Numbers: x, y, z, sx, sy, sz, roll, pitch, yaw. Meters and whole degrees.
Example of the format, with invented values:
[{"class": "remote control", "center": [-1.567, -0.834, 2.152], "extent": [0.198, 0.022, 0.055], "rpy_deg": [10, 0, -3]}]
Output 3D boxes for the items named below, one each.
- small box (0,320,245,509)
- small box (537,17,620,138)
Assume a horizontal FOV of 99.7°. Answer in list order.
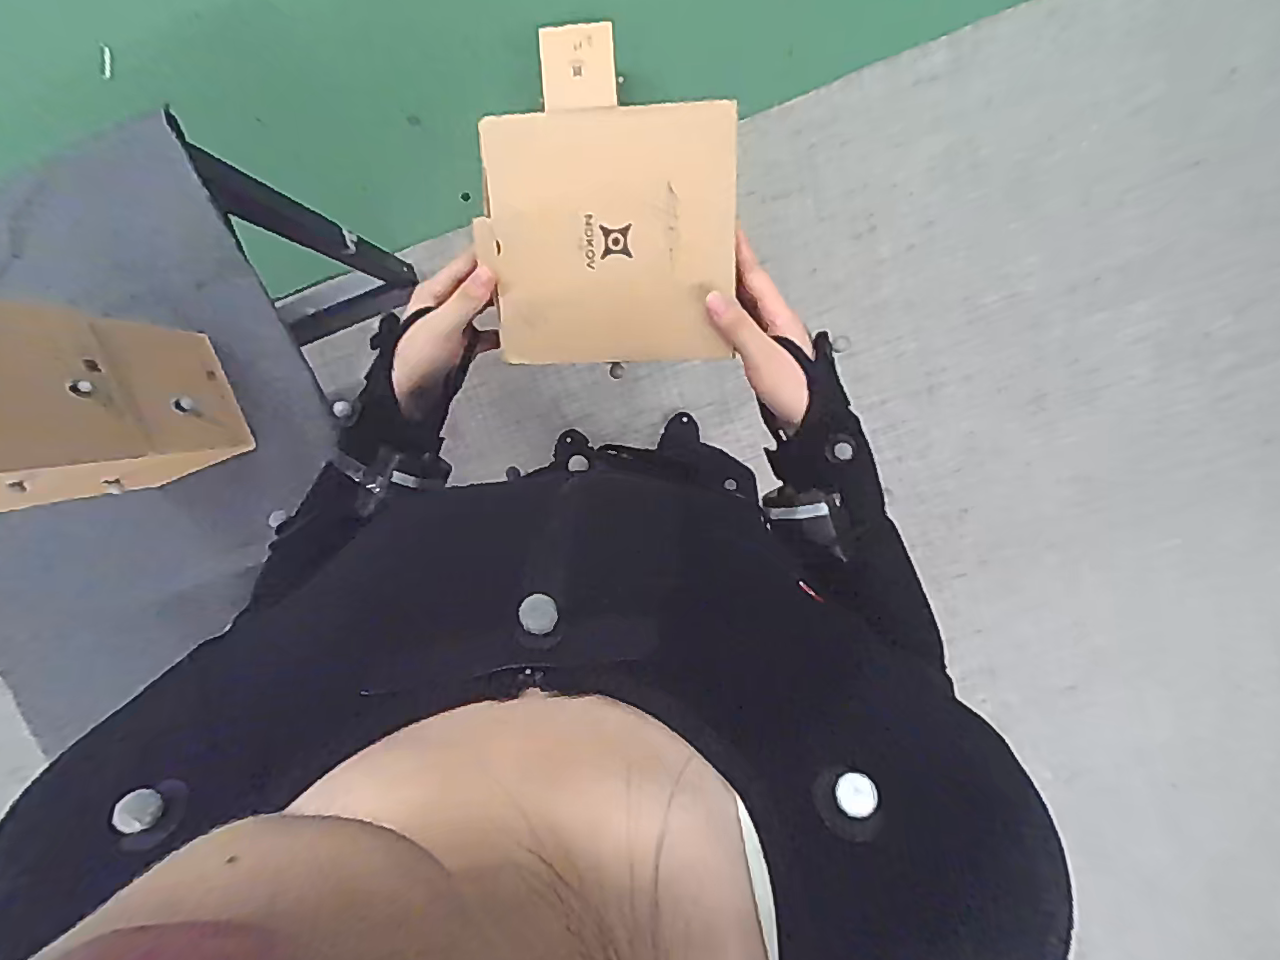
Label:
[{"class": "small box", "center": [-0.639, -0.082, 0.668], "extent": [0.179, 0.176, 0.168], "rpy_deg": [-19, 97, 6]}, {"class": "small box", "center": [-0.137, -0.927, 1.267], "extent": [0.168, 0.176, 0.179], "rpy_deg": [-3, 98, 1]}]
